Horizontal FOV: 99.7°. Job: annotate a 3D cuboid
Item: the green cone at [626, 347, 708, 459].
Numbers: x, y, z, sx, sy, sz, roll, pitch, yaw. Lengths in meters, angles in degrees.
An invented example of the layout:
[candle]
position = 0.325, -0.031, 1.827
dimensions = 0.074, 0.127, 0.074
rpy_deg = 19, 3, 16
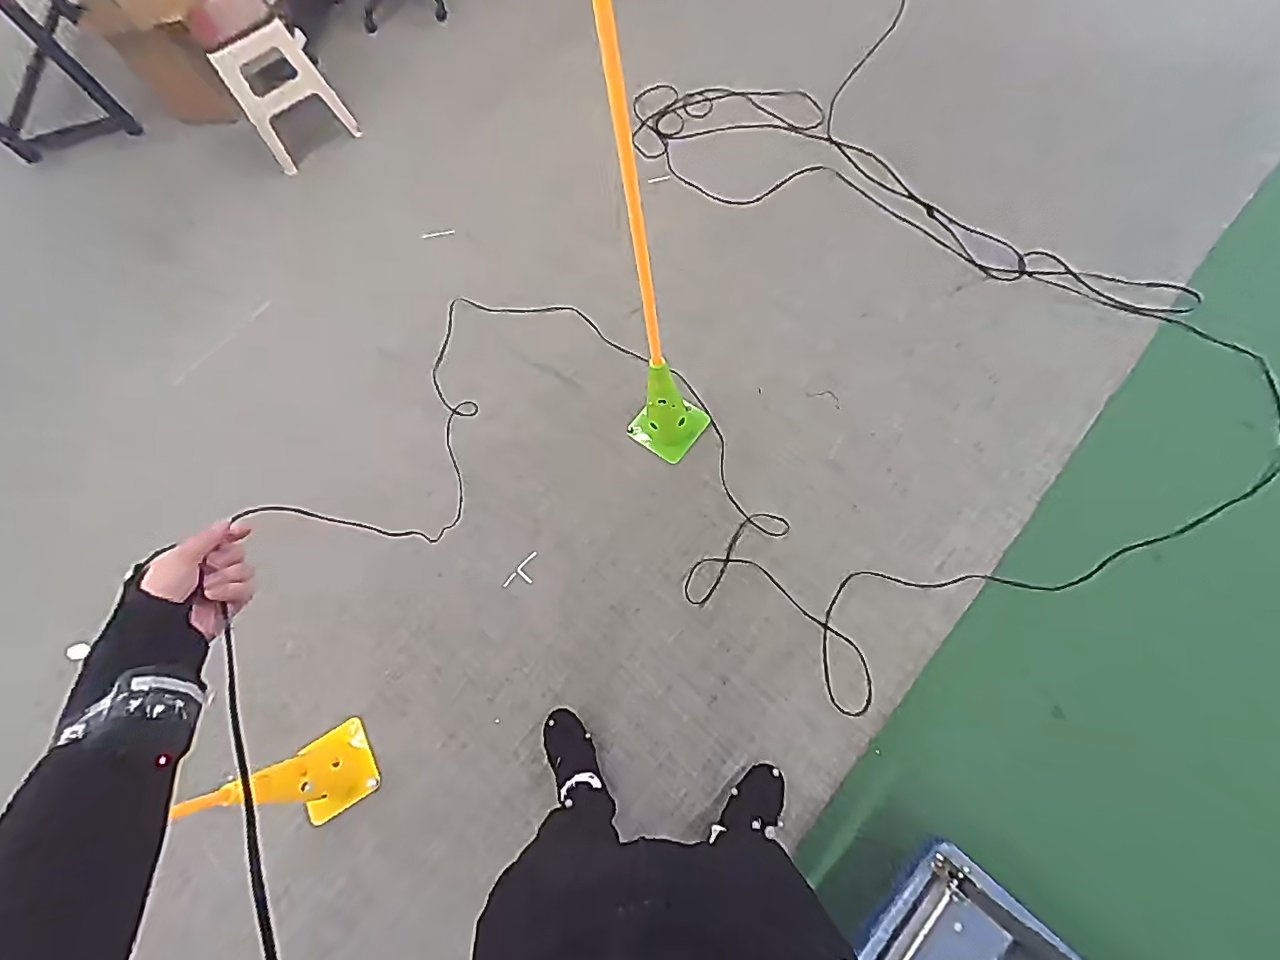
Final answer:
[green cone]
position = 0.066, -0.245, 1.514
dimensions = 0.200, 0.368, 0.202
rpy_deg = 35, 76, 18
